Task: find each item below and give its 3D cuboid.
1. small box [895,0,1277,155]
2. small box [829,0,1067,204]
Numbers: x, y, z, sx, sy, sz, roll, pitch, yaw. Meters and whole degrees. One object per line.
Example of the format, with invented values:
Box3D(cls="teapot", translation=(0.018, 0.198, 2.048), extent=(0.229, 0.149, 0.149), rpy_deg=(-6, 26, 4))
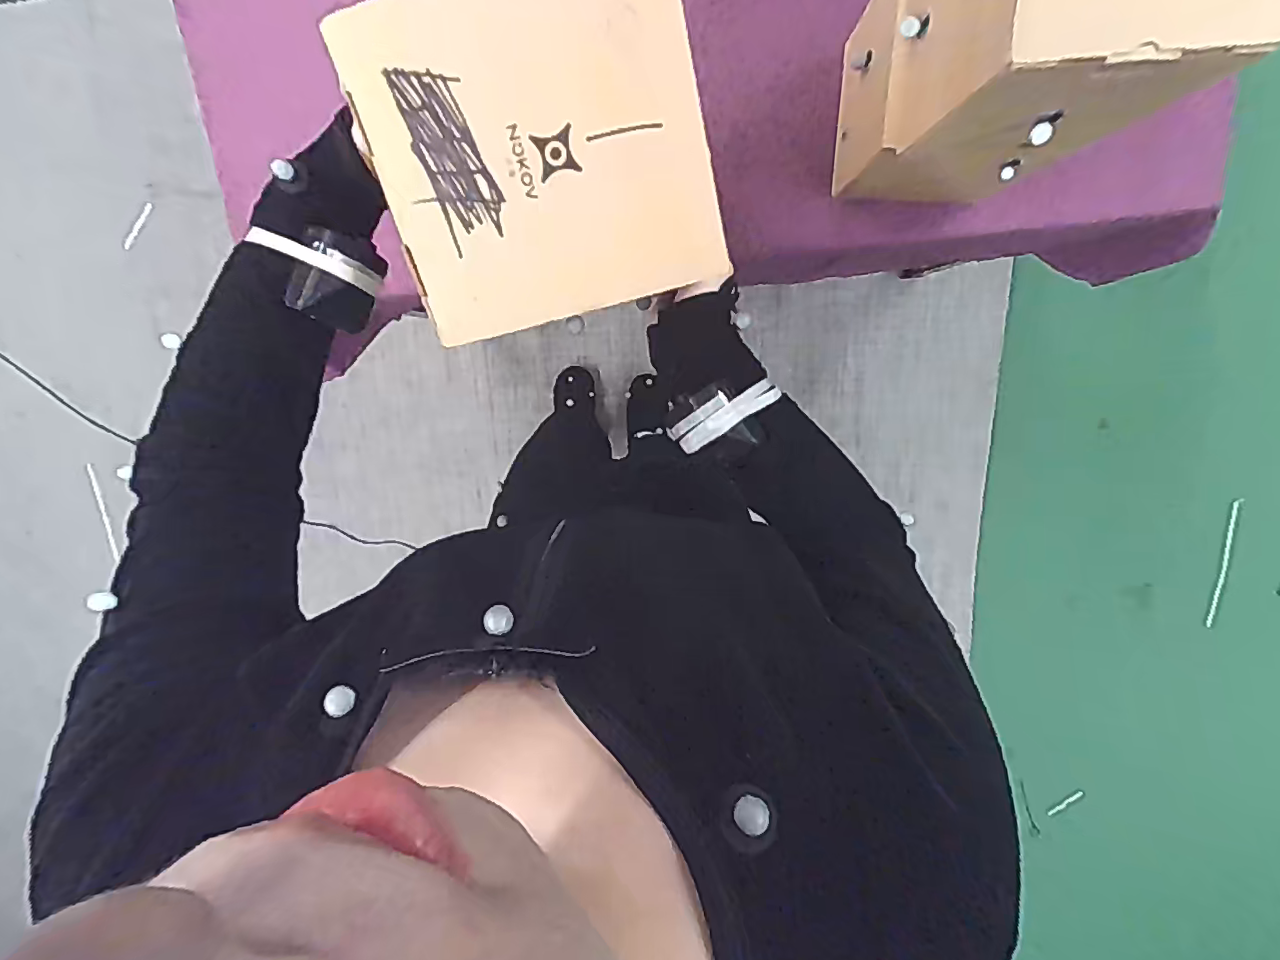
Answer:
Box3D(cls="small box", translation=(0.306, -0.358, 0.397), extent=(0.168, 0.176, 0.179), rpy_deg=(-2, 104, 2))
Box3D(cls="small box", translation=(0.310, -0.396, 0.557), extent=(0.179, 0.176, 0.168), rpy_deg=(2, 103, 2))
